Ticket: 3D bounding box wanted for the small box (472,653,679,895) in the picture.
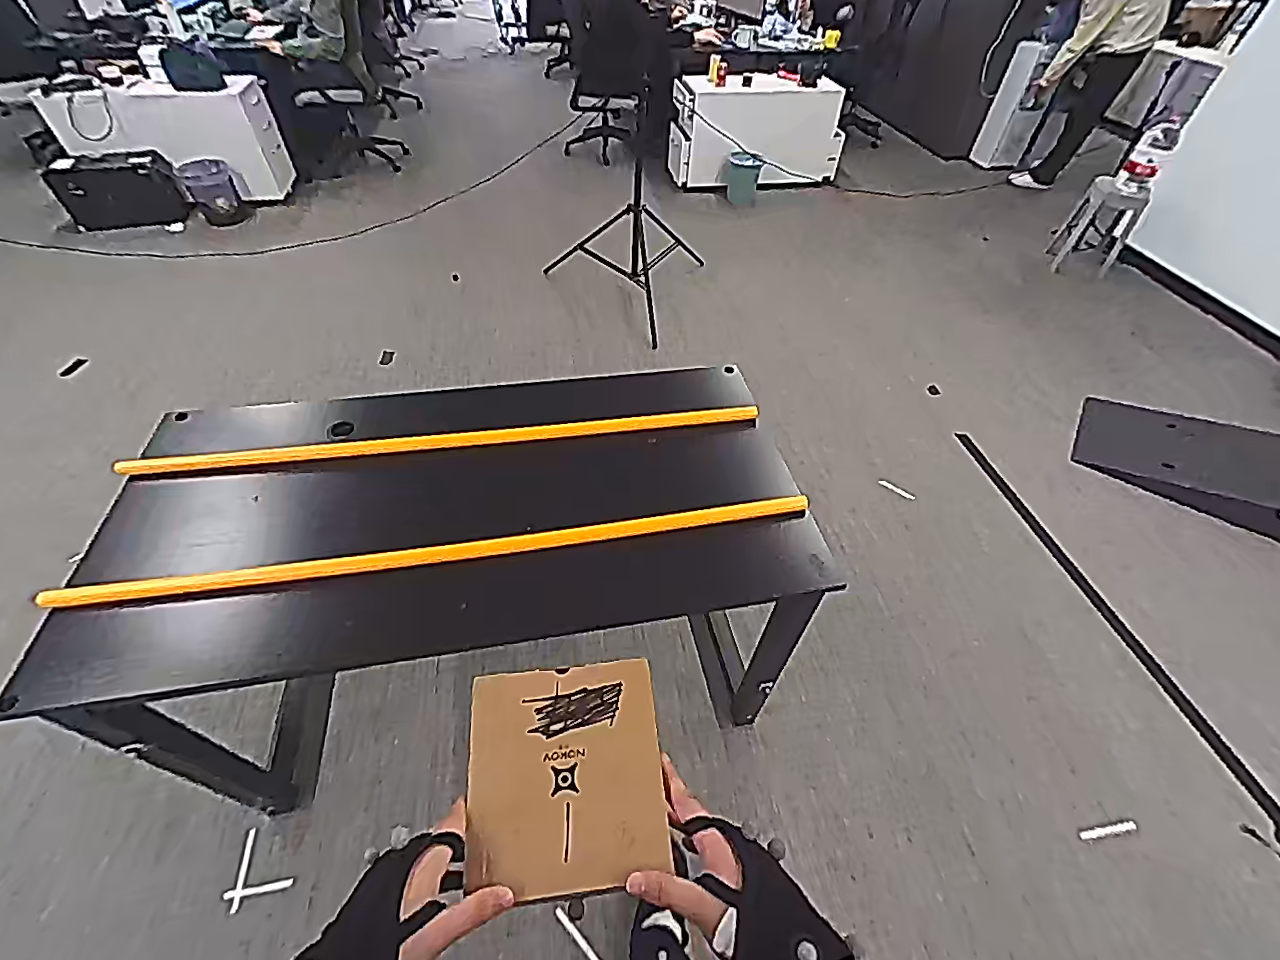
[{"bbox_3d":[-0.059,0.292,0.536,0.168,0.176,0.179,-5,53,-4],"label":"small box"}]
